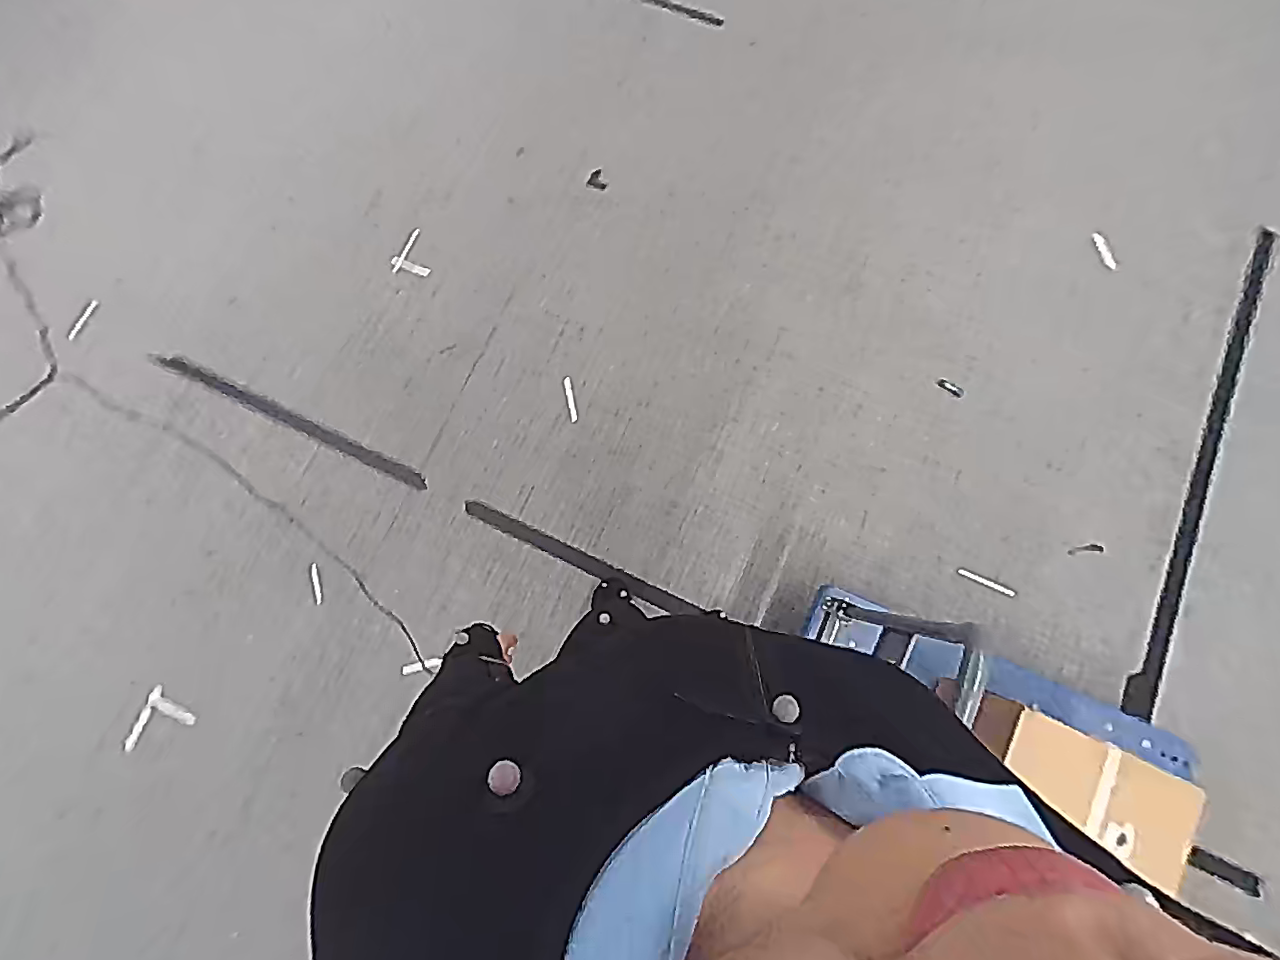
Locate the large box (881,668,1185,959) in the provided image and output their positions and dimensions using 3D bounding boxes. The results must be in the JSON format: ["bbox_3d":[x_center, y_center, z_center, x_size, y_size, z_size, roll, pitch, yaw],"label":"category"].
[{"bbox_3d":[0.741,0.646,1.075,0.320,0.320,0.408,25,81,7],"label":"large box"}]
